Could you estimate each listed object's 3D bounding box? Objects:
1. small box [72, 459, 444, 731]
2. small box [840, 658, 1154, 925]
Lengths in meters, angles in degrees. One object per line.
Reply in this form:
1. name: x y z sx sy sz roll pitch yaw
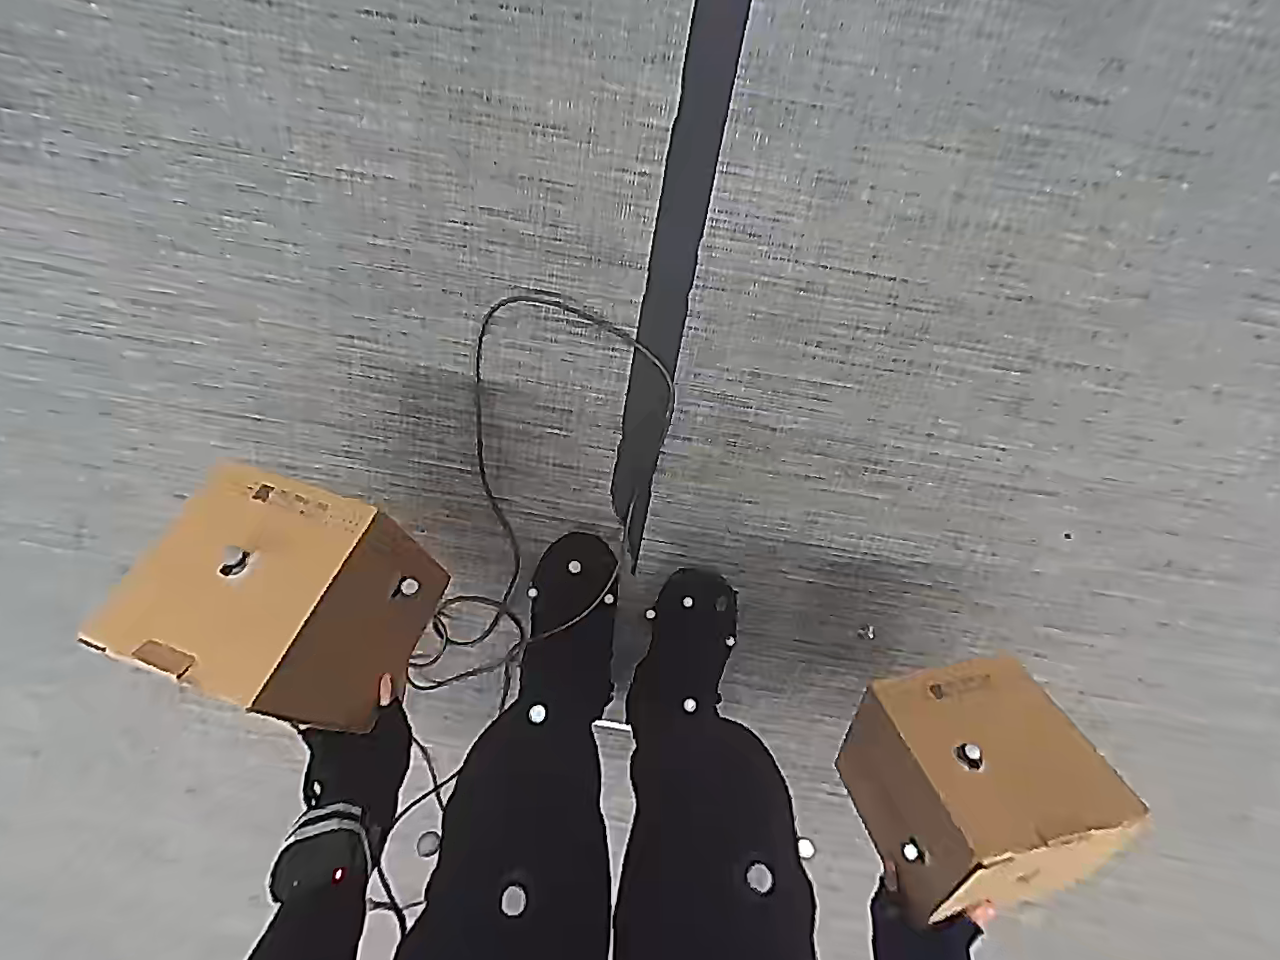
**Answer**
1. small box: -0.311 0.104 0.489 0.168 0.176 0.179 16 151 12
2. small box: 0.325 0.297 0.540 0.168 0.176 0.179 -8 129 -9
